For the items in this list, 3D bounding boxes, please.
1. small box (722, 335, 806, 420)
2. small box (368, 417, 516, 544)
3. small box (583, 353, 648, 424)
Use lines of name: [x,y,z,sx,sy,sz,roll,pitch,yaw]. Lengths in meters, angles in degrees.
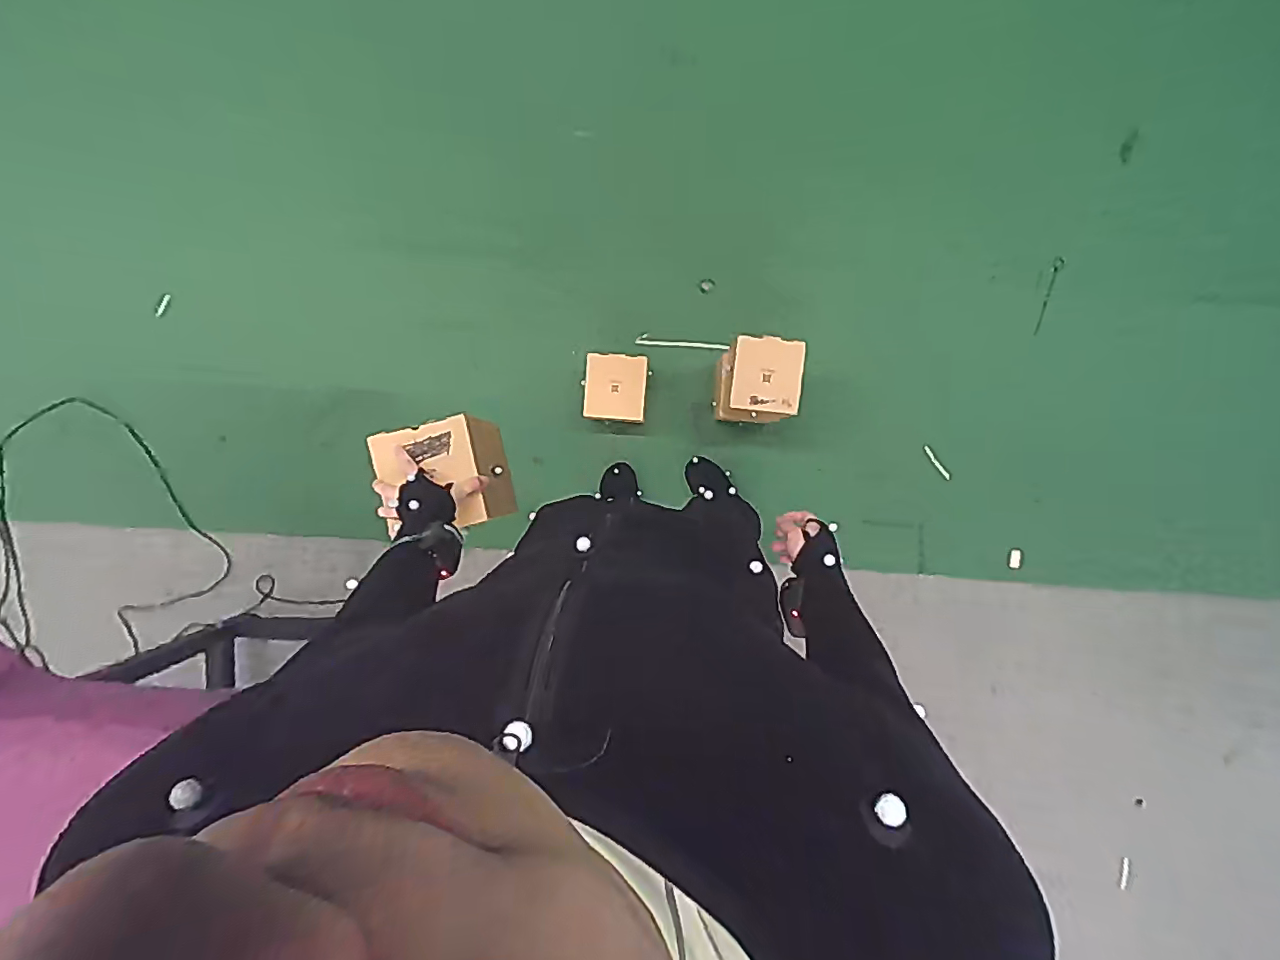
small box: [0.305,-0.252,1.363,0.168,0.176,0.179,7,93,1]
small box: [-0.331,0.000,0.934,0.168,0.176,0.179,-13,91,5]
small box: [-0.064,-0.254,1.542,0.168,0.176,0.179,4,93,2]
